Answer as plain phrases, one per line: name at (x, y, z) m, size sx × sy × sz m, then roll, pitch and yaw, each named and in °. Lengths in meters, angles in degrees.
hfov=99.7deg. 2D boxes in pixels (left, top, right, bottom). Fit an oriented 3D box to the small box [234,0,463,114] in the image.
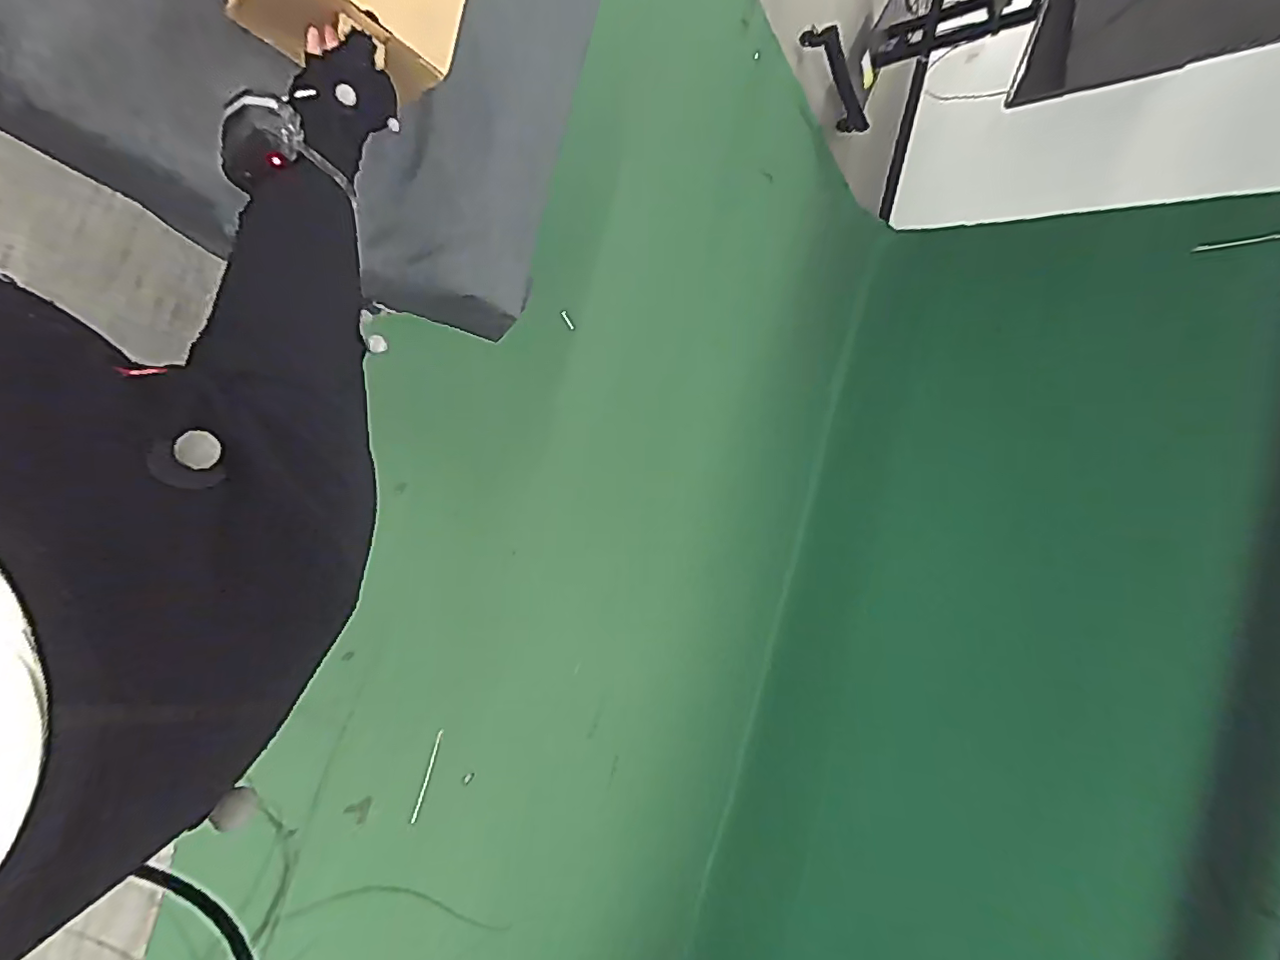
small box at (-0.309, -0.539, 0.581) m, size 0.168 × 0.176 × 0.179 m, roll 13°, pitch 91°, yaw -51°
